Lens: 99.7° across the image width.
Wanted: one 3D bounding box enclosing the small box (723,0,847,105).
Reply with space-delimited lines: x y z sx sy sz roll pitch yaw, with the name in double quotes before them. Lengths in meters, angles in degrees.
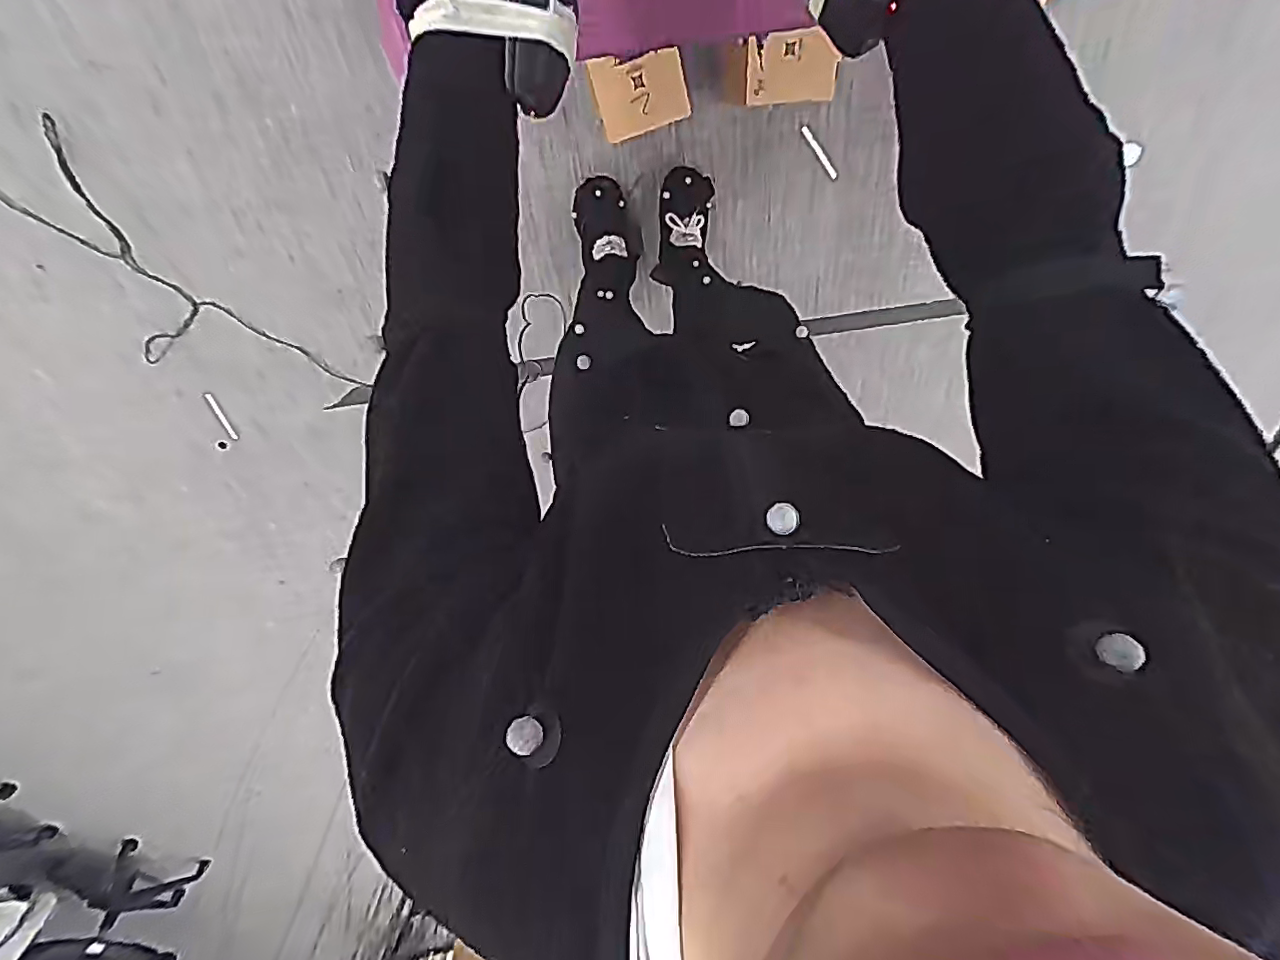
"small box" 0.271 -0.833 1.047 0.179 0.176 0.168 -6 126 -4
